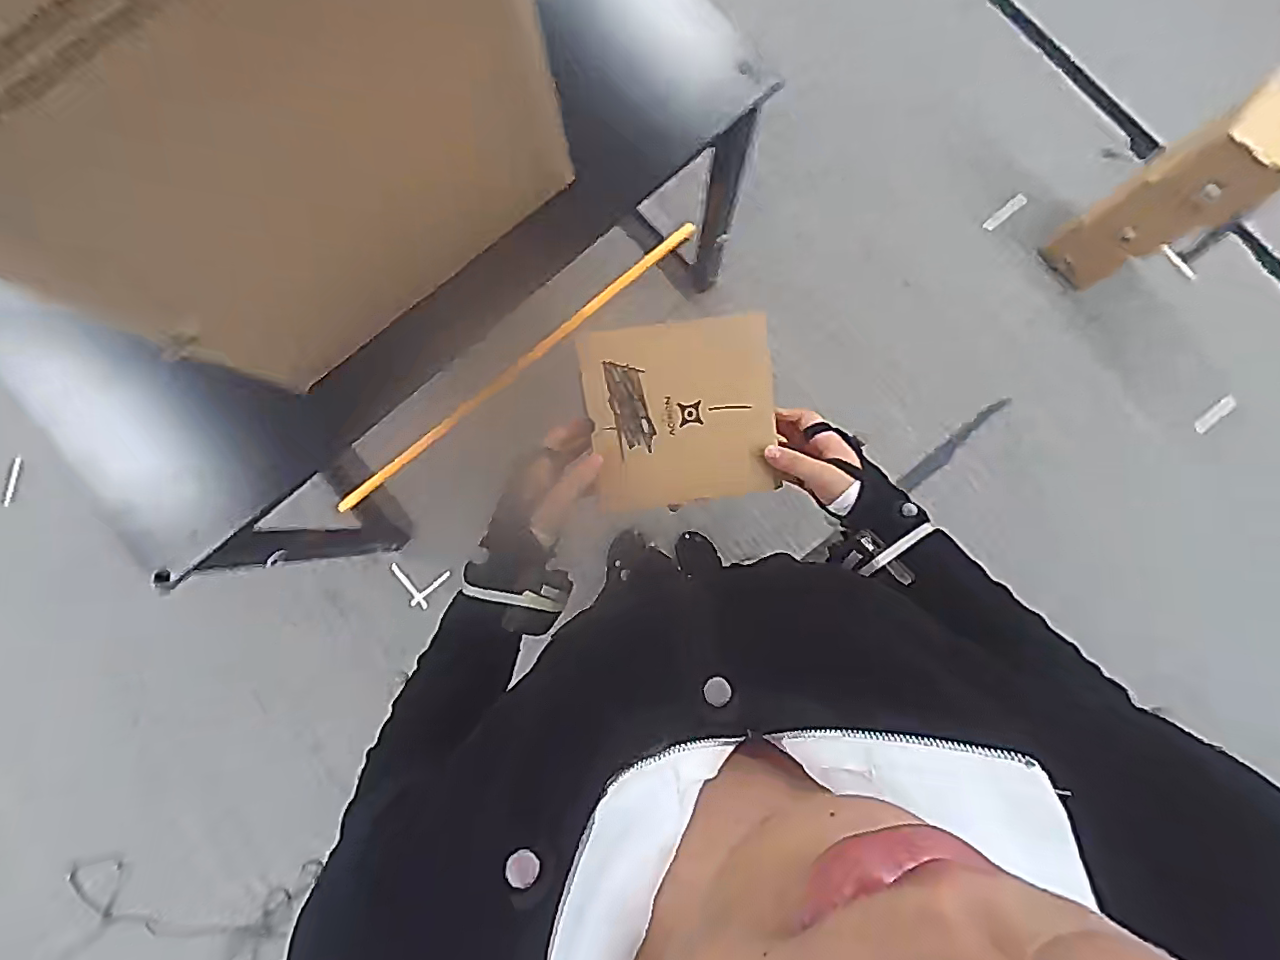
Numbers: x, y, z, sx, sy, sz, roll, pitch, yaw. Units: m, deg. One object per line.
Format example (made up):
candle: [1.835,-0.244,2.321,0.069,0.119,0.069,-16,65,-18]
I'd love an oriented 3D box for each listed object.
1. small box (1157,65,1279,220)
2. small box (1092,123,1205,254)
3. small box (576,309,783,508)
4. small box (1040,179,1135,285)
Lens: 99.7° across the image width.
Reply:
small box: [1.251,-0.689,1.127,0.168,0.176,0.179,39,88,5]
small box: [1.250,-0.686,1.291,0.168,0.176,0.179,41,87,6]
small box: [0.033,-0.071,0.568,0.179,0.176,0.168,-8,96,-4]
small box: [1.243,-0.666,1.455,0.179,0.176,0.168,-44,85,-1]
